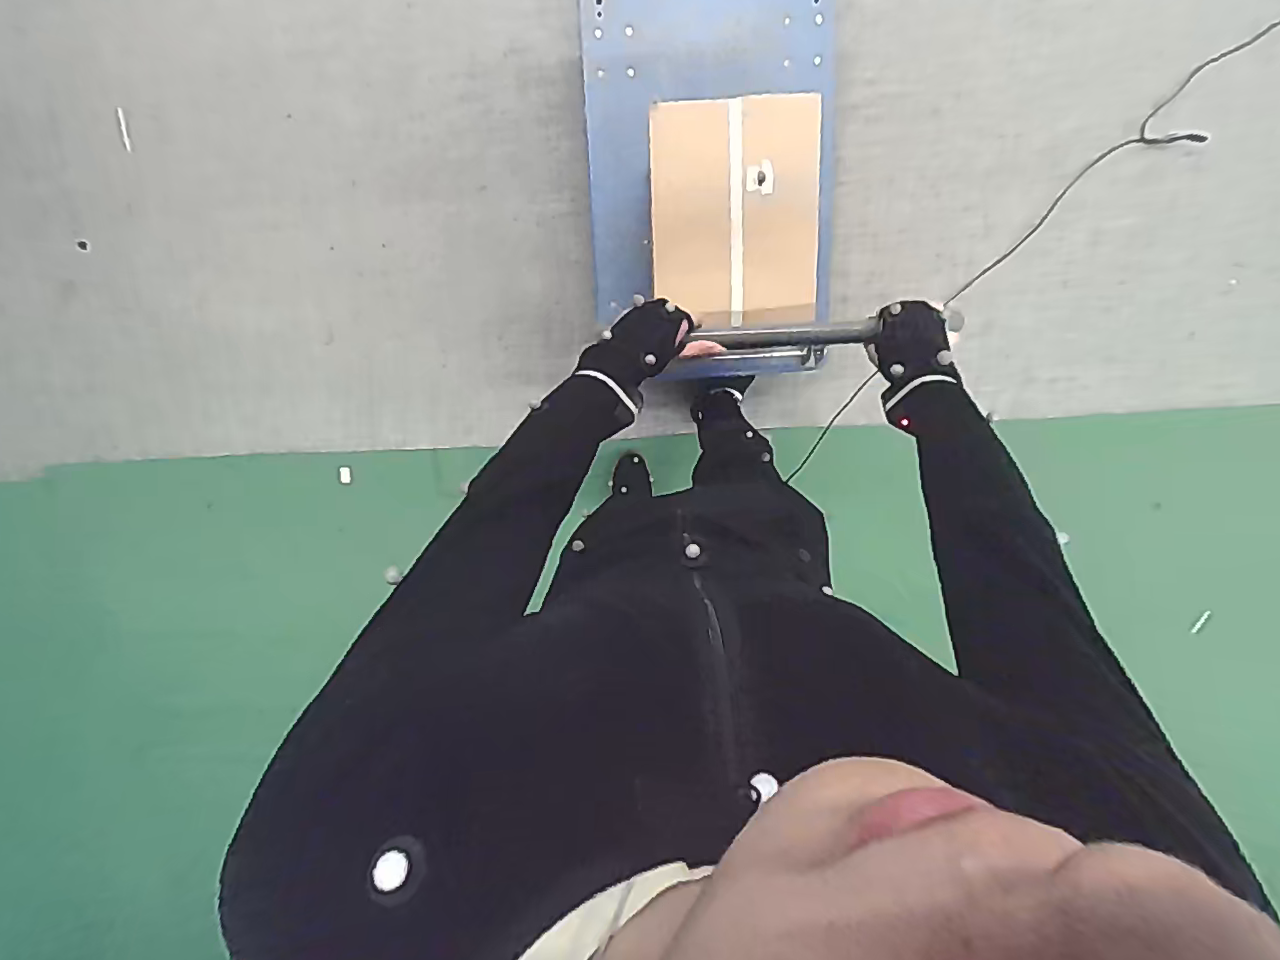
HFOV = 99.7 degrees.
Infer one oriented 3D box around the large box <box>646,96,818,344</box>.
[{"bbox_3d":[0.182,-0.515,1.158,0.320,0.320,0.408,-3,101,1],"label":"large box"}]
